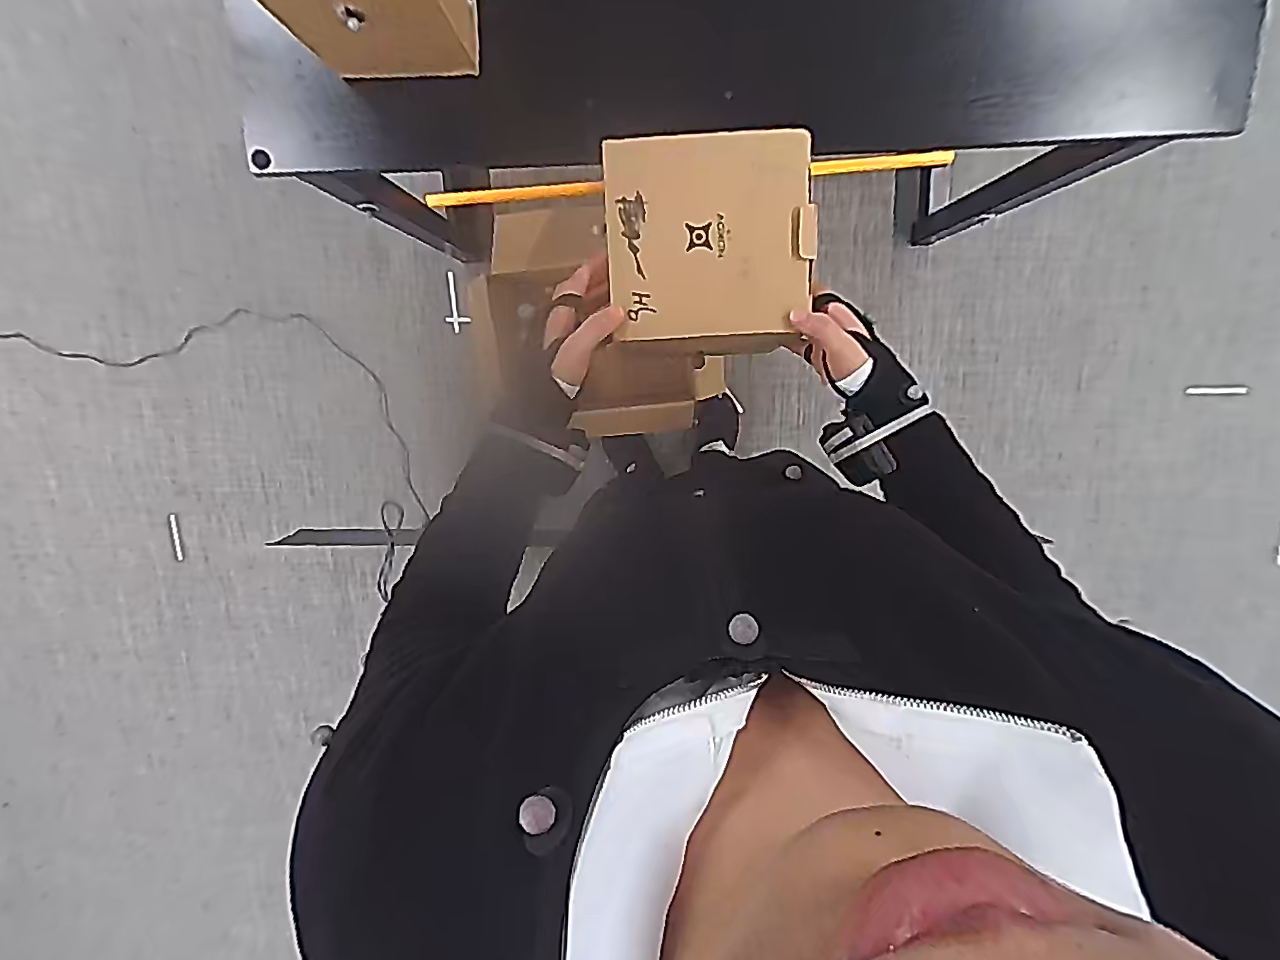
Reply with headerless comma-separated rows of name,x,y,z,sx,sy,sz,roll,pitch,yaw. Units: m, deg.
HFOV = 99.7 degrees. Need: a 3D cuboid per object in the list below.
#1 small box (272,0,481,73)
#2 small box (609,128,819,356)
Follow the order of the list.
small box,-0.277,-0.546,0.549,0.179,0.176,0.168,-1,103,0
small box,0.061,-0.216,0.532,0.179,0.176,0.168,-3,97,0
